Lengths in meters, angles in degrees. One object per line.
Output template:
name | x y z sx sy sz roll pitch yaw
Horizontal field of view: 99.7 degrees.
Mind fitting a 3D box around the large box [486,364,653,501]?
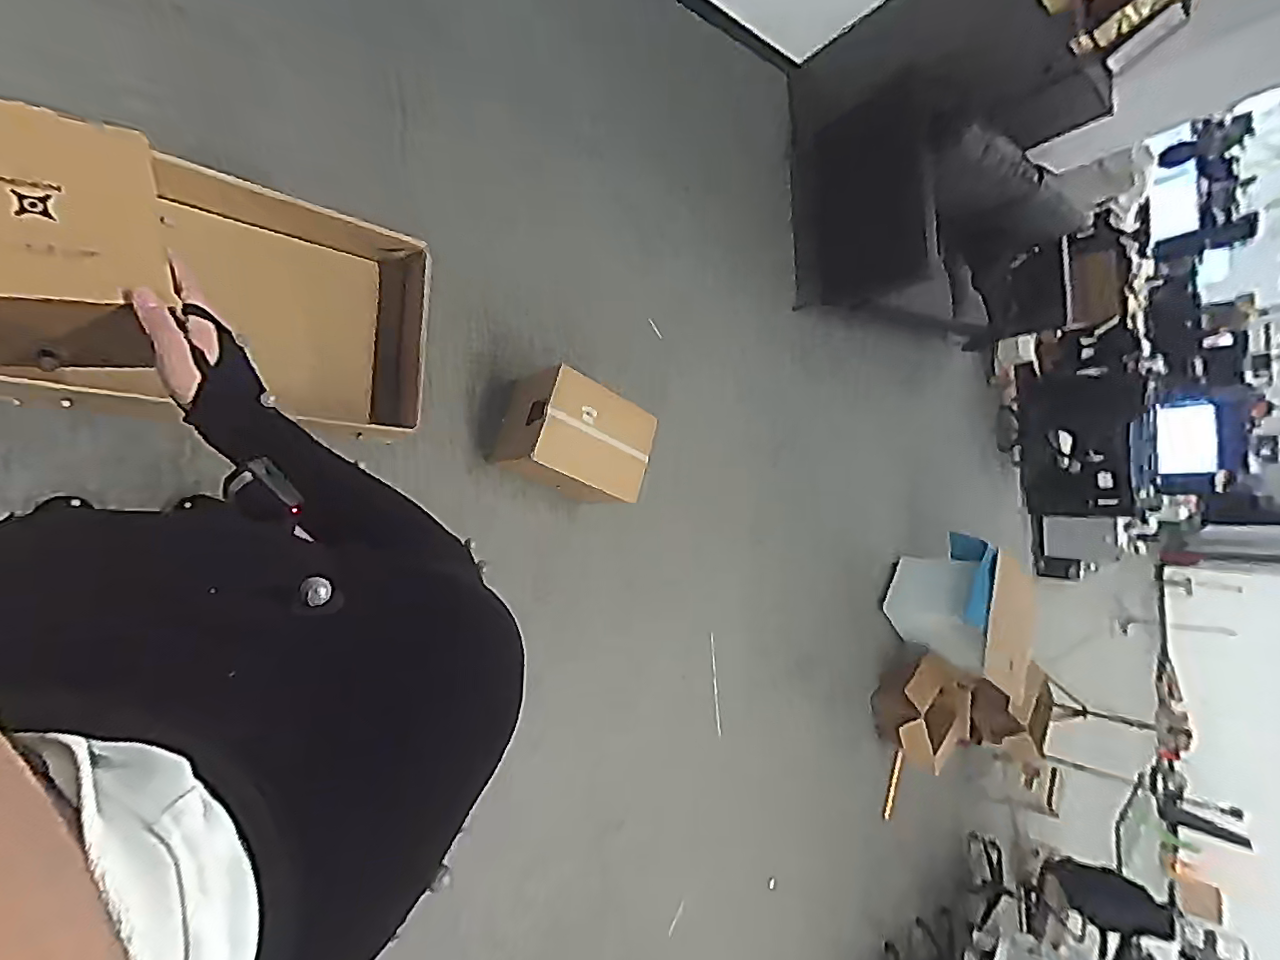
large box | -0.232 -0.135 1.795 0.408 0.320 0.320 25 72 -35
